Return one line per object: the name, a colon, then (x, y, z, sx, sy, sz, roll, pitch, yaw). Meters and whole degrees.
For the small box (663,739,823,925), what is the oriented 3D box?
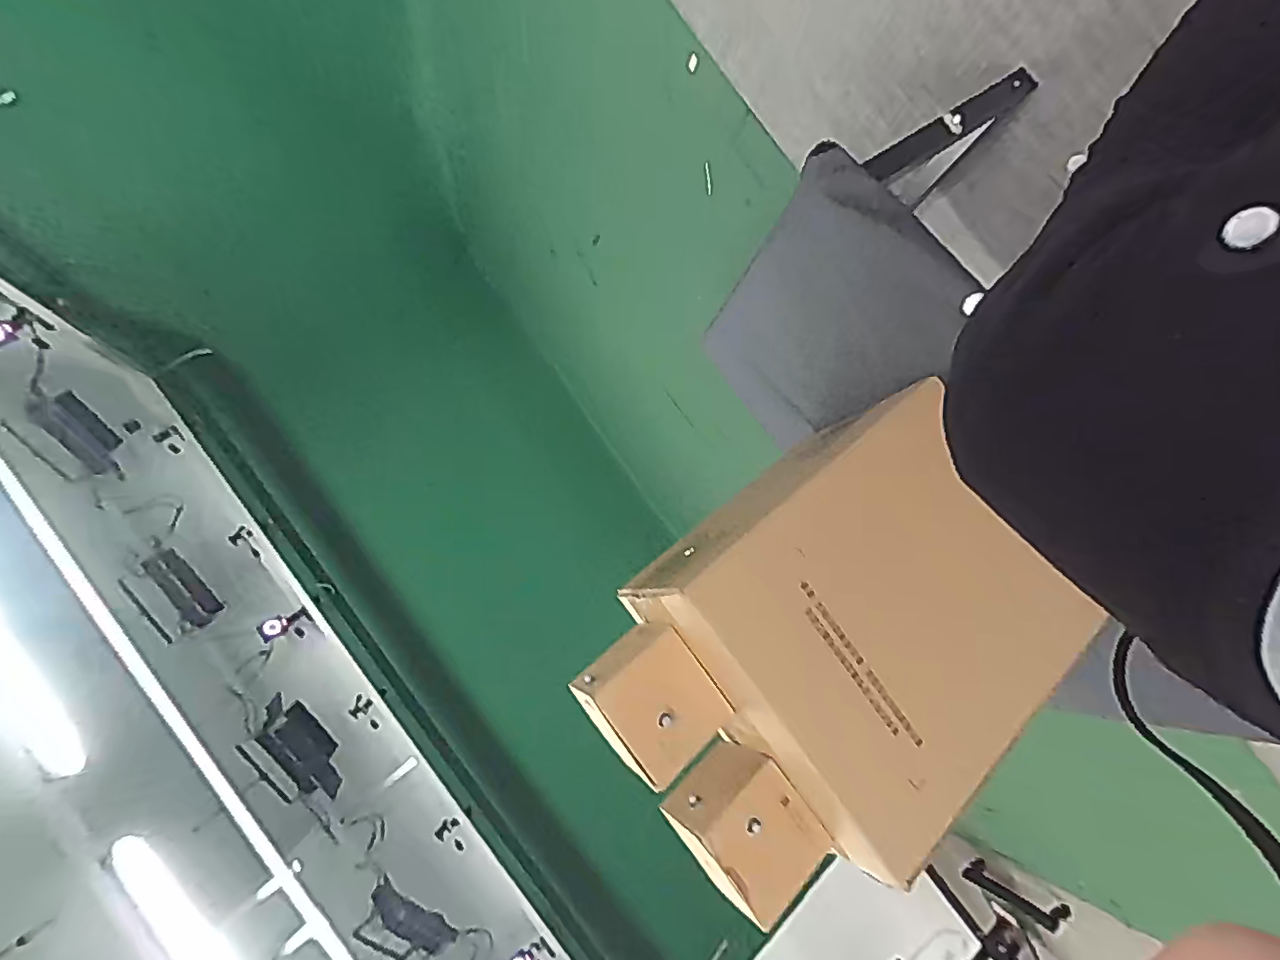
small box: (0.172, 0.561, 0.895, 0.168, 0.176, 0.179, 54, 158, 2)

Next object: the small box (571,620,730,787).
small box: (0.017, 0.357, 0.898, 0.179, 0.176, 0.168, 53, 156, 0)
